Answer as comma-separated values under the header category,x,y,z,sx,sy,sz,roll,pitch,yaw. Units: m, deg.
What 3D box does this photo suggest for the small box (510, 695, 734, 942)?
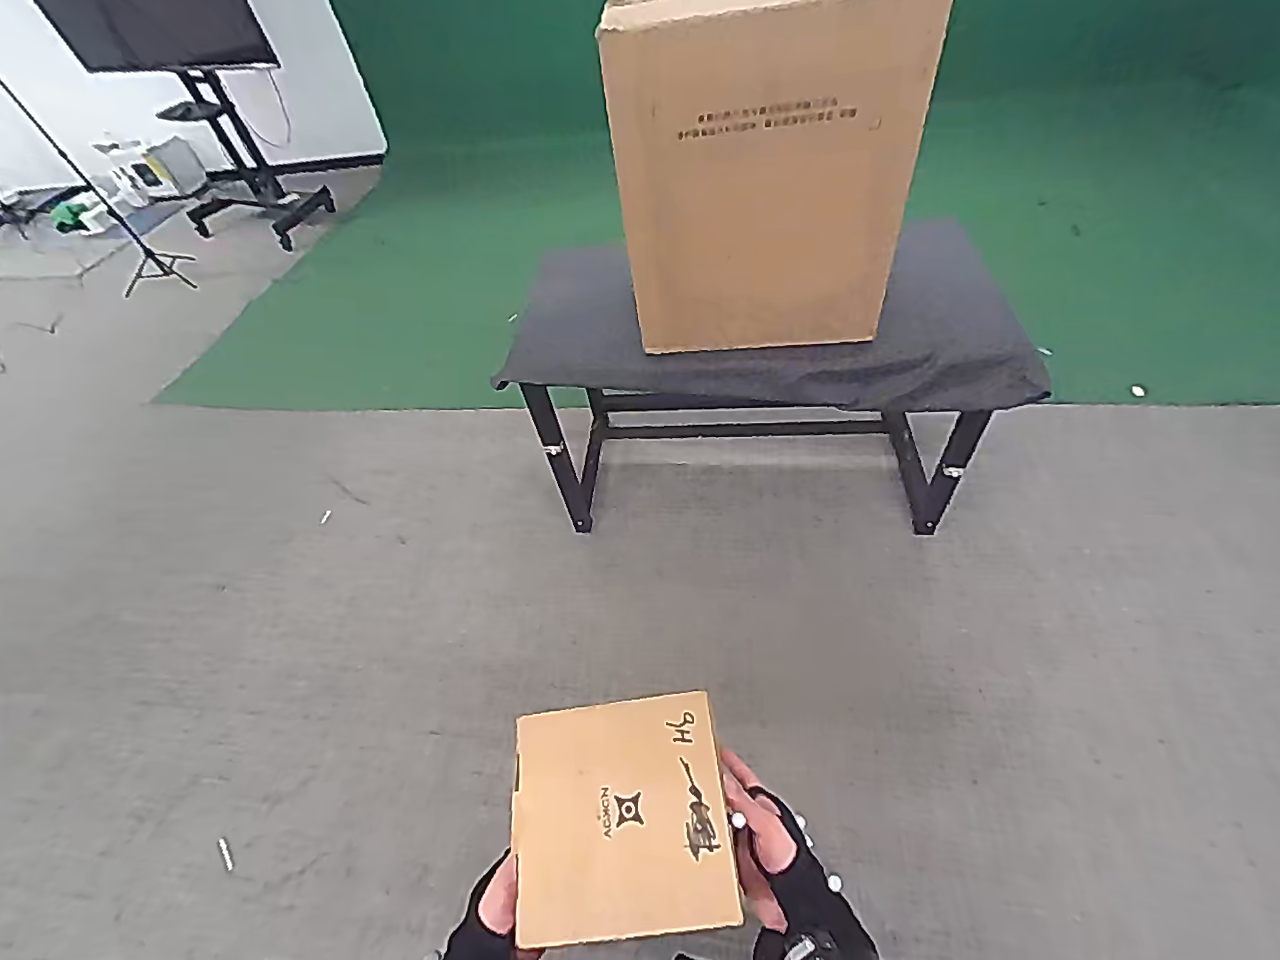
category,x,y,z,sx,sy,sz,roll,pitch,yaw
small box,-0.009,0.312,0.515,0.179,0.176,0.168,-9,60,4
